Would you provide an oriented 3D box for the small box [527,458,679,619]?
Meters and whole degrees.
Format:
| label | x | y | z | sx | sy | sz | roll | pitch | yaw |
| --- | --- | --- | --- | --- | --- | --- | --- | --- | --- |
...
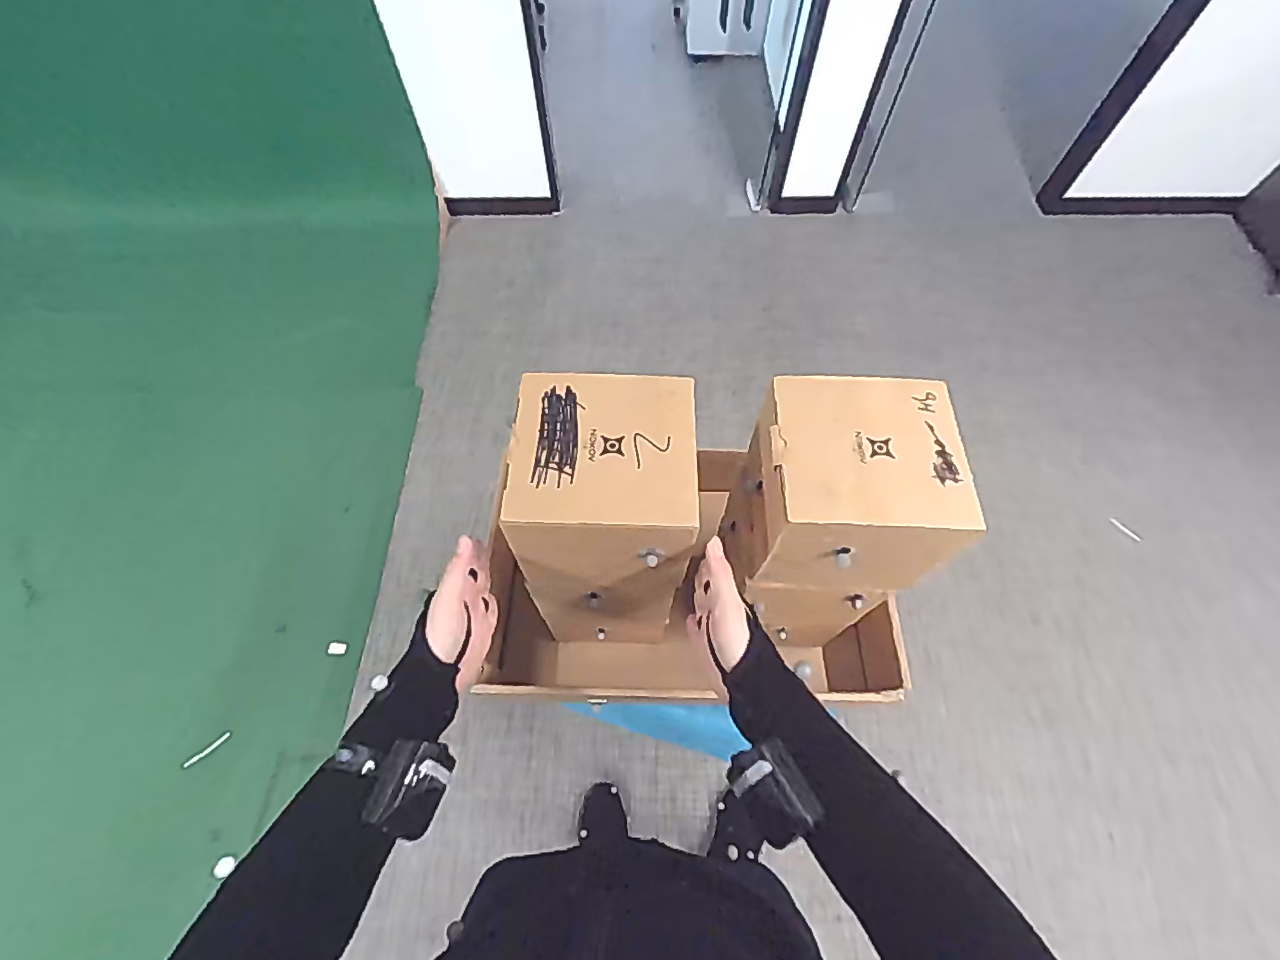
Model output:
| label | x | y | z | sx | sy | sz | roll | pitch | yaw |
| --- | --- | --- | --- | --- | --- | --- | --- | --- | --- |
| small box | -0.042 | 0.084 | 0.718 | 0.179 | 0.176 | 0.168 | 1 | 62 | -1 |
